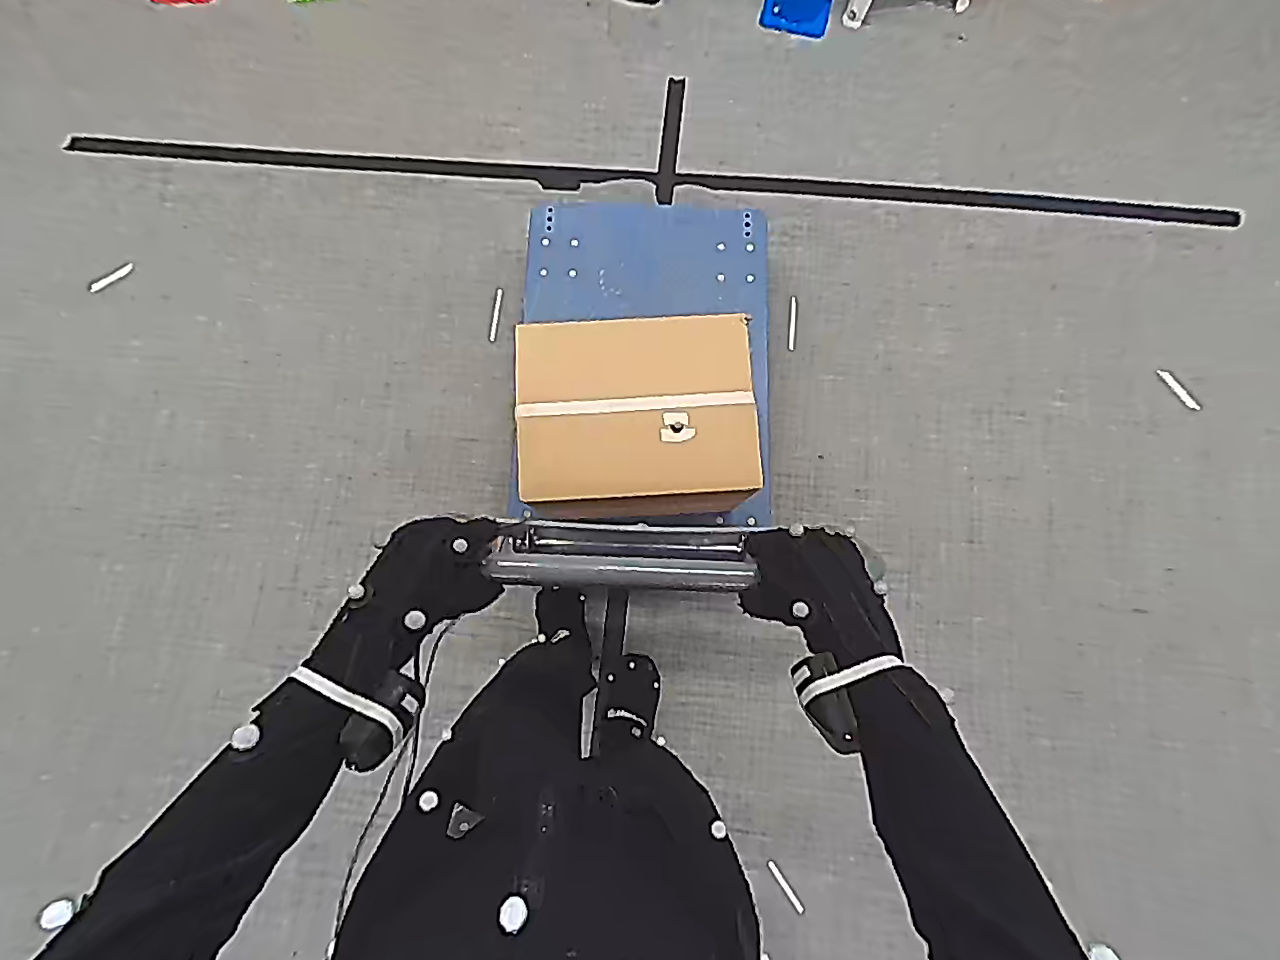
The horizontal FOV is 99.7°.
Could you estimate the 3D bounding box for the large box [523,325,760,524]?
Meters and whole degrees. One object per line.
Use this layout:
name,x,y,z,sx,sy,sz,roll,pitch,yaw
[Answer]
large box,-0.006,-0.090,1.084,0.408,0.320,0.320,-3,80,-2
